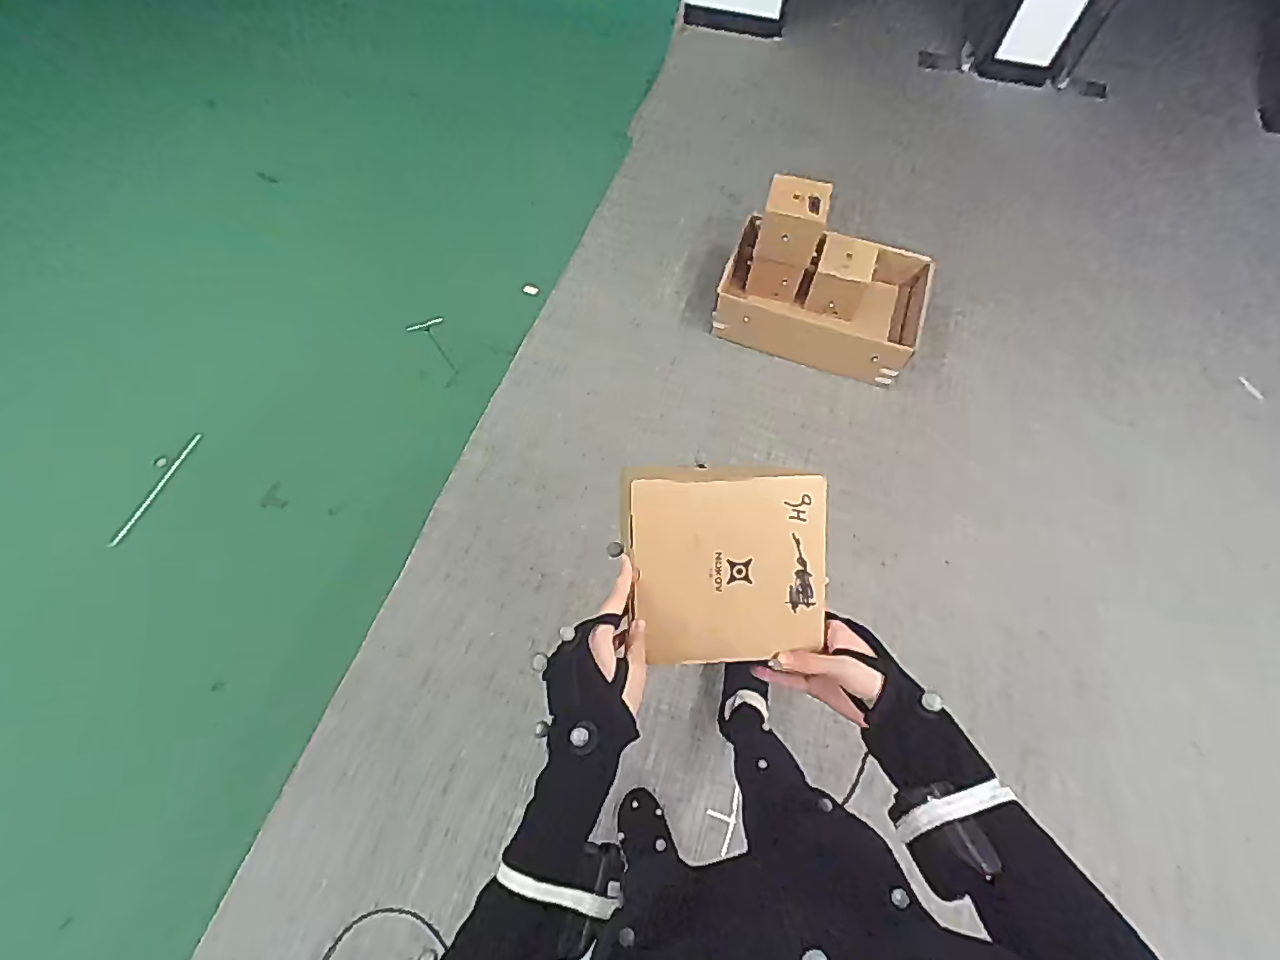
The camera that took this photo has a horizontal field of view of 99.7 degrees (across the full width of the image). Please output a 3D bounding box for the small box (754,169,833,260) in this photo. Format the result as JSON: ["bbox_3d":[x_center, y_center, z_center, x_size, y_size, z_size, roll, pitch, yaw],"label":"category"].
[{"bbox_3d":[0.456,-0.789,1.620,0.179,0.176,0.168,14,67,7],"label":"small box"}]

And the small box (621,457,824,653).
[{"bbox_3d":[0.068,0.064,0.549,0.179,0.176,0.168,0,96,-4],"label":"small box"}]

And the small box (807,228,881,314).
[{"bbox_3d":[0.652,-0.671,1.744,0.168,0.176,0.179,18,68,10],"label":"small box"}]
